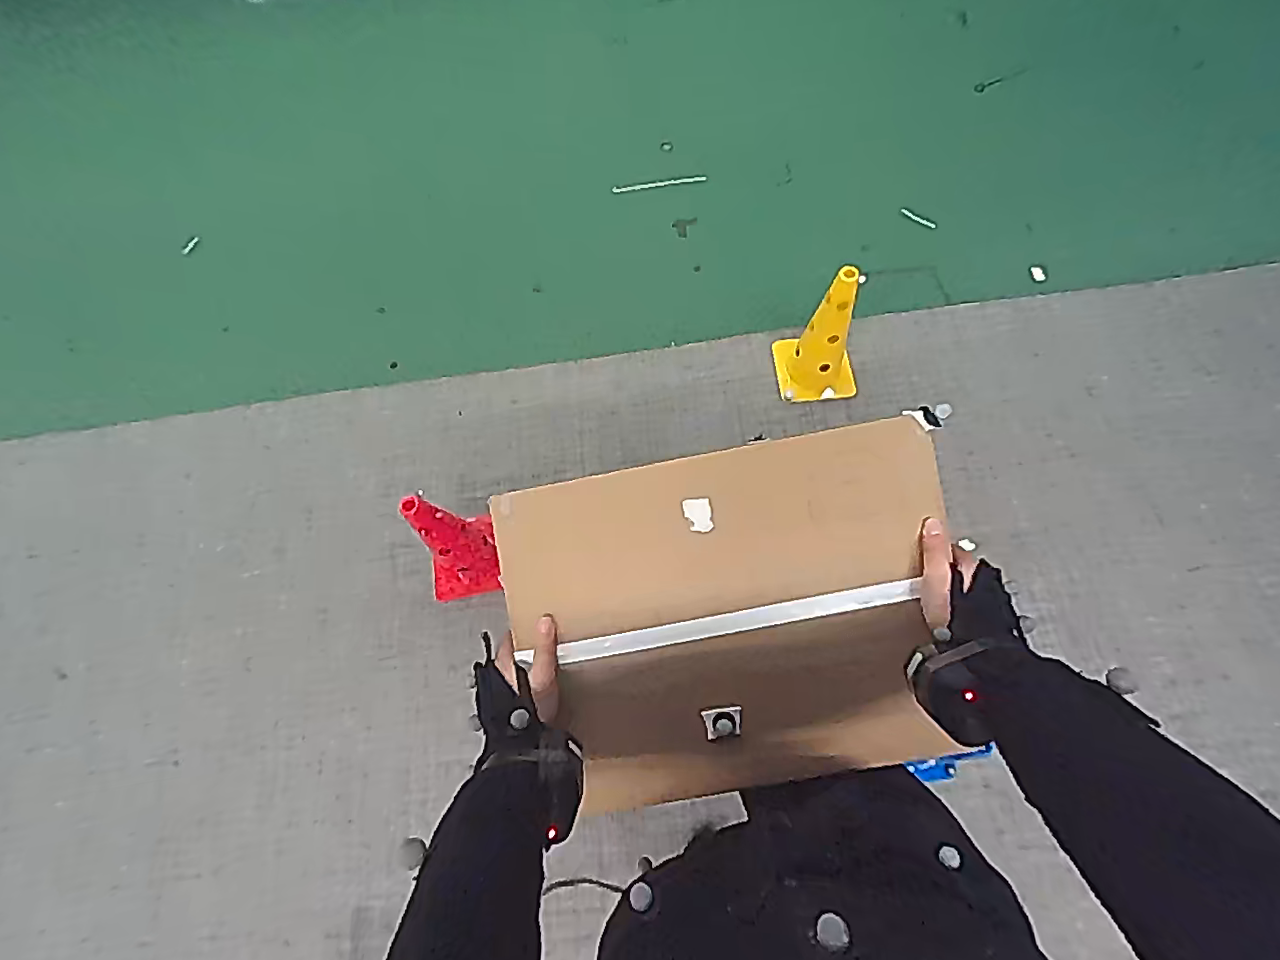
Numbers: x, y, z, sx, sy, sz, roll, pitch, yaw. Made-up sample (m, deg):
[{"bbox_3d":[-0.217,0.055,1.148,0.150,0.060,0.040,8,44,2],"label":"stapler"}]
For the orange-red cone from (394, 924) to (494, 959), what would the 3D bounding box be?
[{"bbox_3d":[-0.399,0.884,0.838,0.199,0.360,0.198,10,66,12],"label":"orange-red cone"}]

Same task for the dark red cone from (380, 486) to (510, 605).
[{"bbox_3d":[-0.433,0.115,1.162,0.202,0.394,0.201,-15,62,-1],"label":"dark red cone"}]
